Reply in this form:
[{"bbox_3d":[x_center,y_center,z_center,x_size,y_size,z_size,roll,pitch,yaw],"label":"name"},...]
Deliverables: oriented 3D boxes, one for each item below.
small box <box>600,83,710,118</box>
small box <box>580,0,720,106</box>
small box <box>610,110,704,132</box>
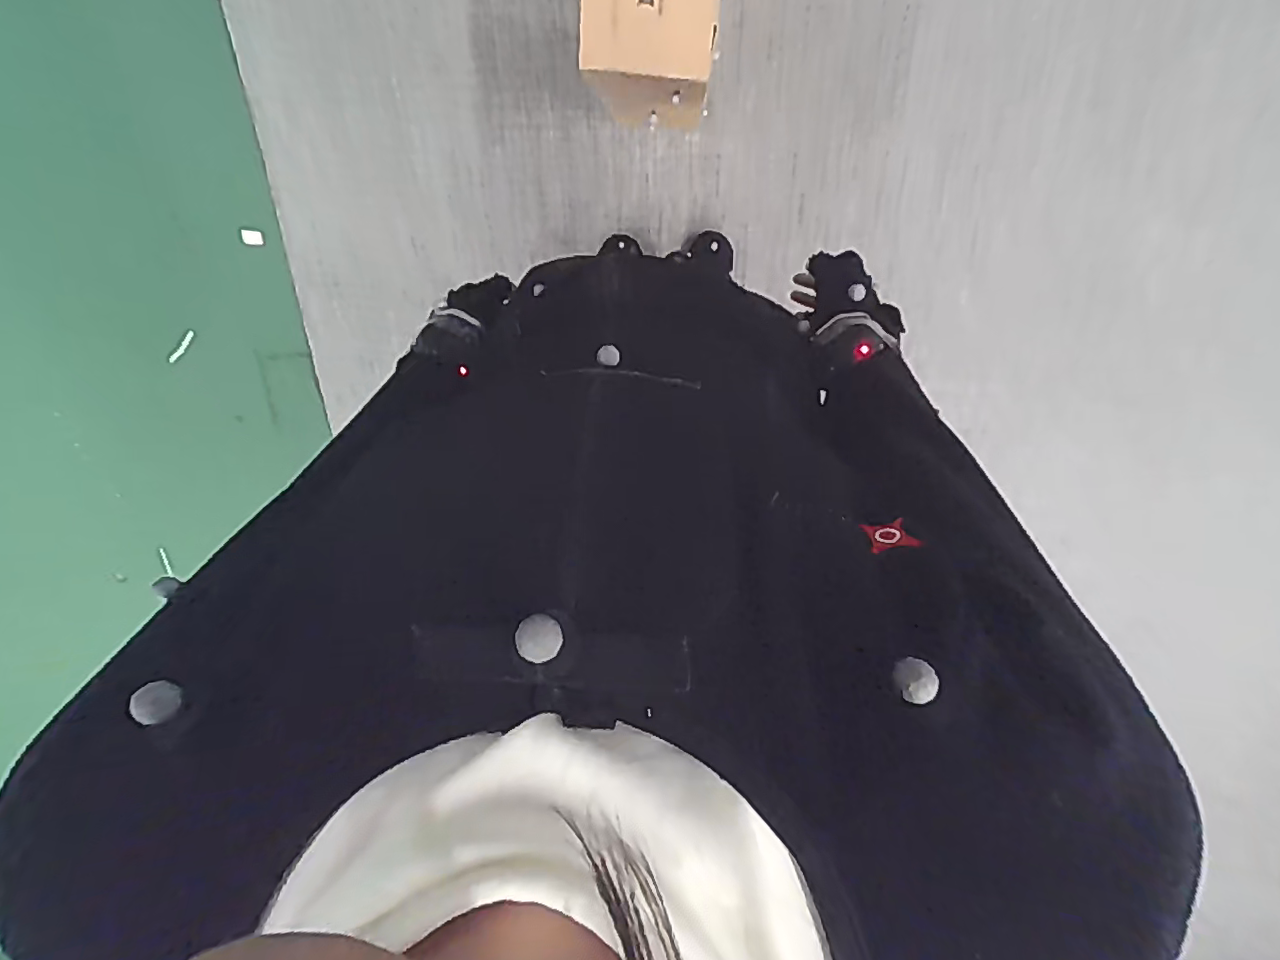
[{"bbox_3d":[0.031,-0.711,0.897,0.179,0.176,0.168,4,117,3],"label":"small box"},{"bbox_3d":[0.018,-0.637,0.750,0.179,0.176,0.168,6,115,2],"label":"small box"},{"bbox_3d":[0.042,-0.782,1.041,0.179,0.176,0.168,6,116,2],"label":"small box"}]
